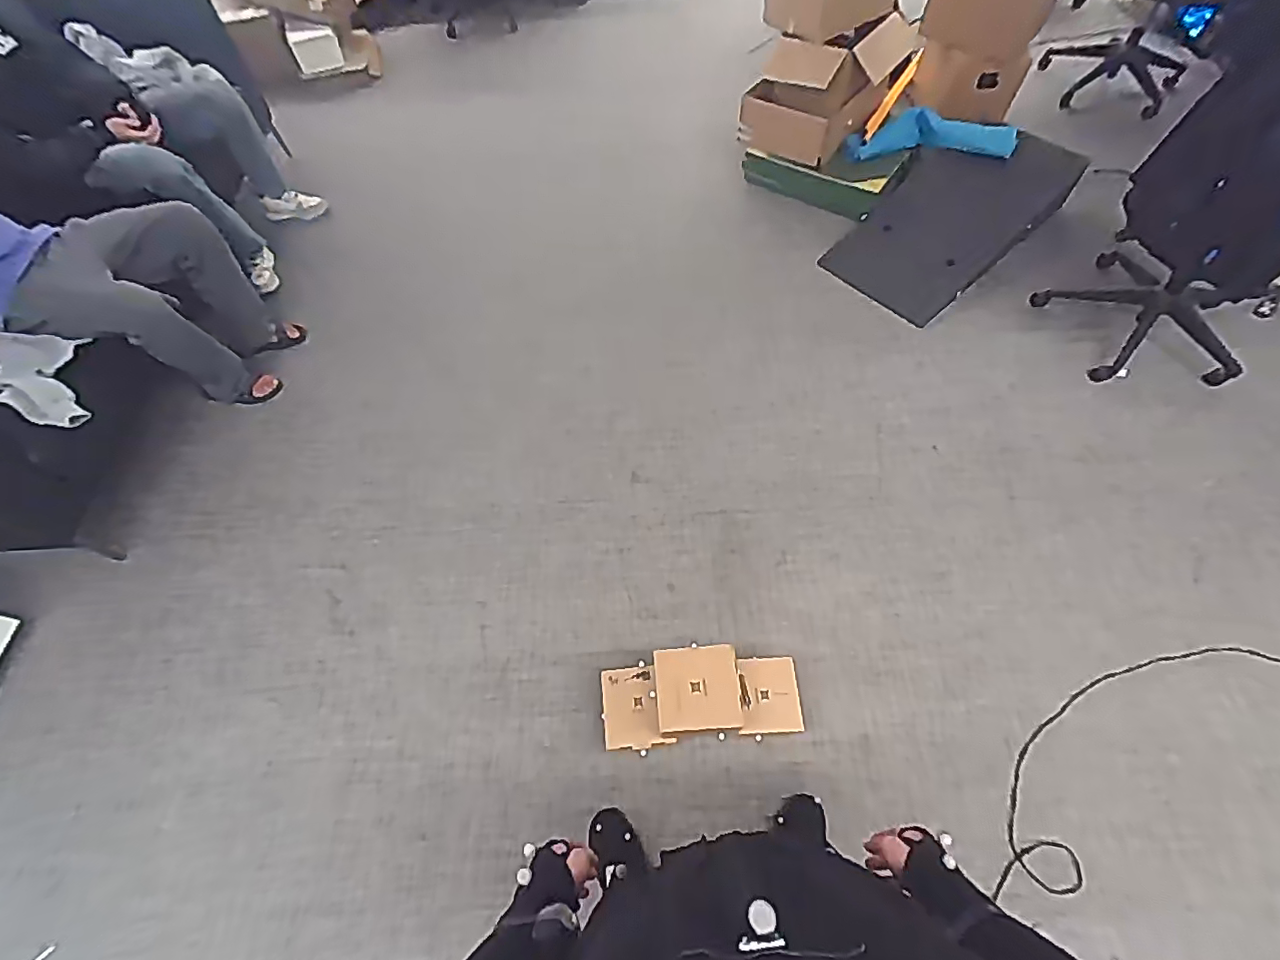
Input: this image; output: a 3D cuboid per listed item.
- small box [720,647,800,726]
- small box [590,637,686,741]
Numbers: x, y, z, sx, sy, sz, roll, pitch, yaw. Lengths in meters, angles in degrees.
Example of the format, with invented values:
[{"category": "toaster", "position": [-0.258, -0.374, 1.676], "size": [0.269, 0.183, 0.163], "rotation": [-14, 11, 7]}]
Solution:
[{"category": "small box", "position": [0.290, 0.517, 1.343], "size": [0.179, 0.176, 0.168], "rotation": [0, 64, 5]}, {"category": "small box", "position": [0.003, 0.528, 1.353], "size": [0.179, 0.176, 0.168], "rotation": [-33, 62, -12]}]
